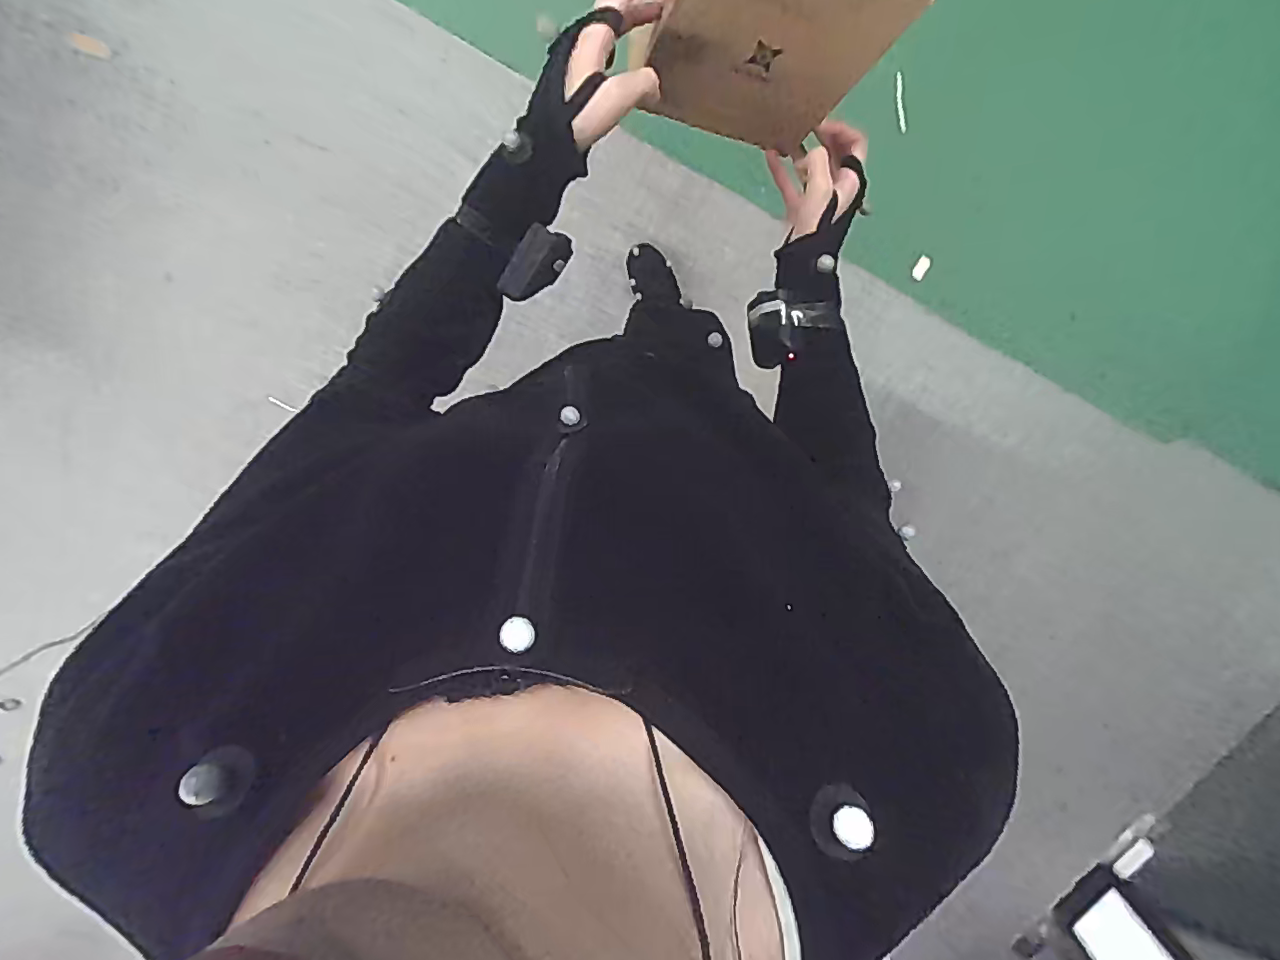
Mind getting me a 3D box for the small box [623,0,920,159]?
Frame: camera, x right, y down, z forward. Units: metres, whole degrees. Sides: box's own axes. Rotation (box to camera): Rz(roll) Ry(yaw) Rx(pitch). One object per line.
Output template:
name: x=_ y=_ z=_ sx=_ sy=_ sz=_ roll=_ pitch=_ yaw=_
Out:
small box: x=0.093 y=-0.403 z=0.424 sx=0.168 sy=0.179 sz=0.176 roll=4 pitch=85 yaw=-19
